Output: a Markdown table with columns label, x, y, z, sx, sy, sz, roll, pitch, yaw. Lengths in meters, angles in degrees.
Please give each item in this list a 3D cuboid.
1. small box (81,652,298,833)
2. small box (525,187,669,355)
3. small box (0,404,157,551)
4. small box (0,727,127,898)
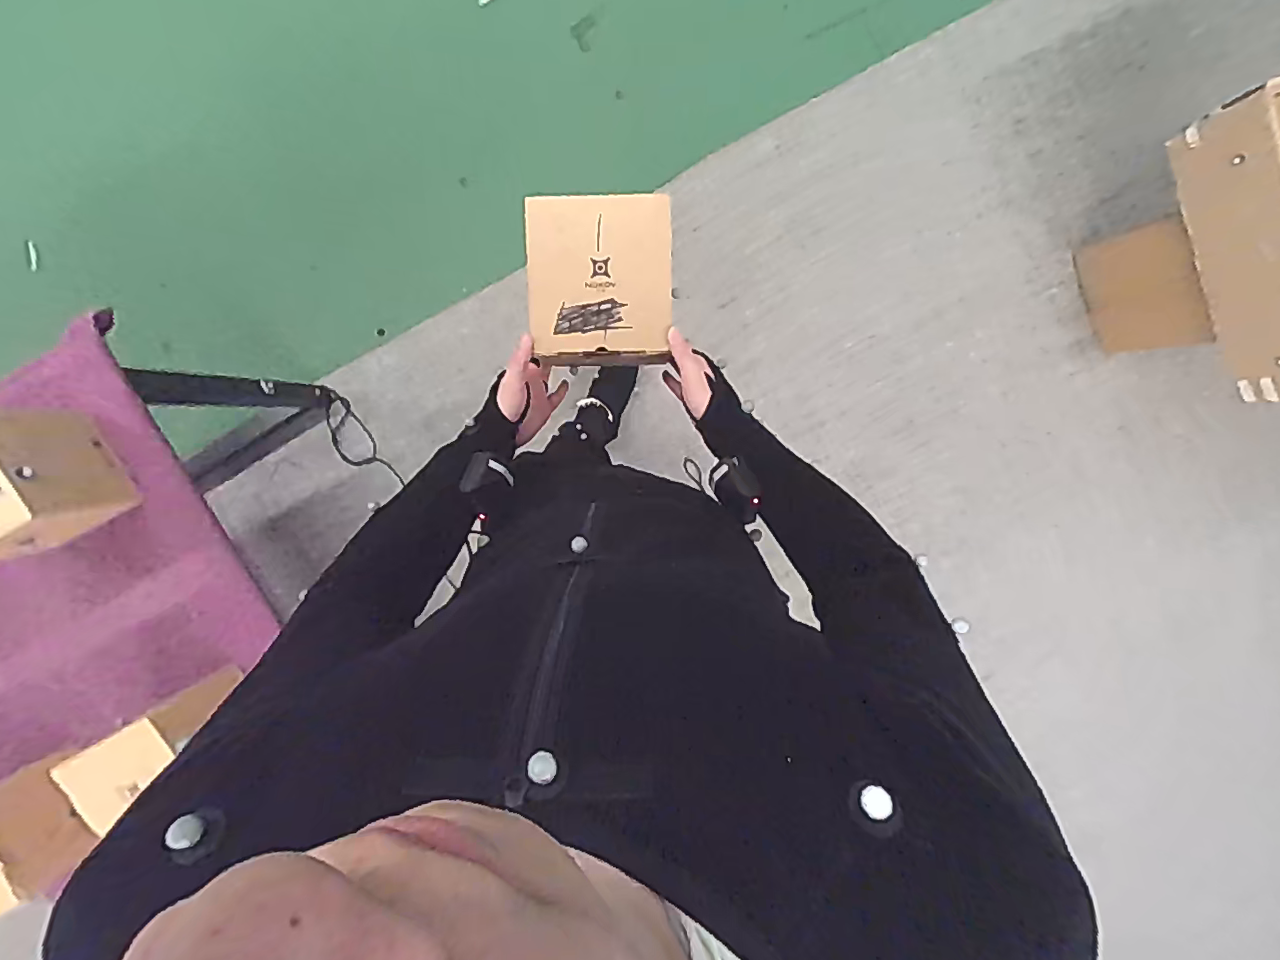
| label | x | y | z | sx | sy | sz | roll | pitch | yaw |
| --- | --- | --- | --- | --- | --- | --- | --- | --- | --- |
| small box | -0.715 | 0.415 | 0.880 | 0.179 | 0.176 | 0.168 | -29 | 97 | 6 |
| small box | -0.046 | -0.255 | 0.700 | 0.168 | 0.176 | 0.179 | 0 | 98 | 2 |
| small box | -0.918 | -0.004 | 0.827 | 0.179 | 0.176 | 0.168 | -27 | 97 | 5 |
| small box | -1.007 | 0.558 | 0.908 | 0.179 | 0.176 | 0.168 | -27 | 95 | 3 |
